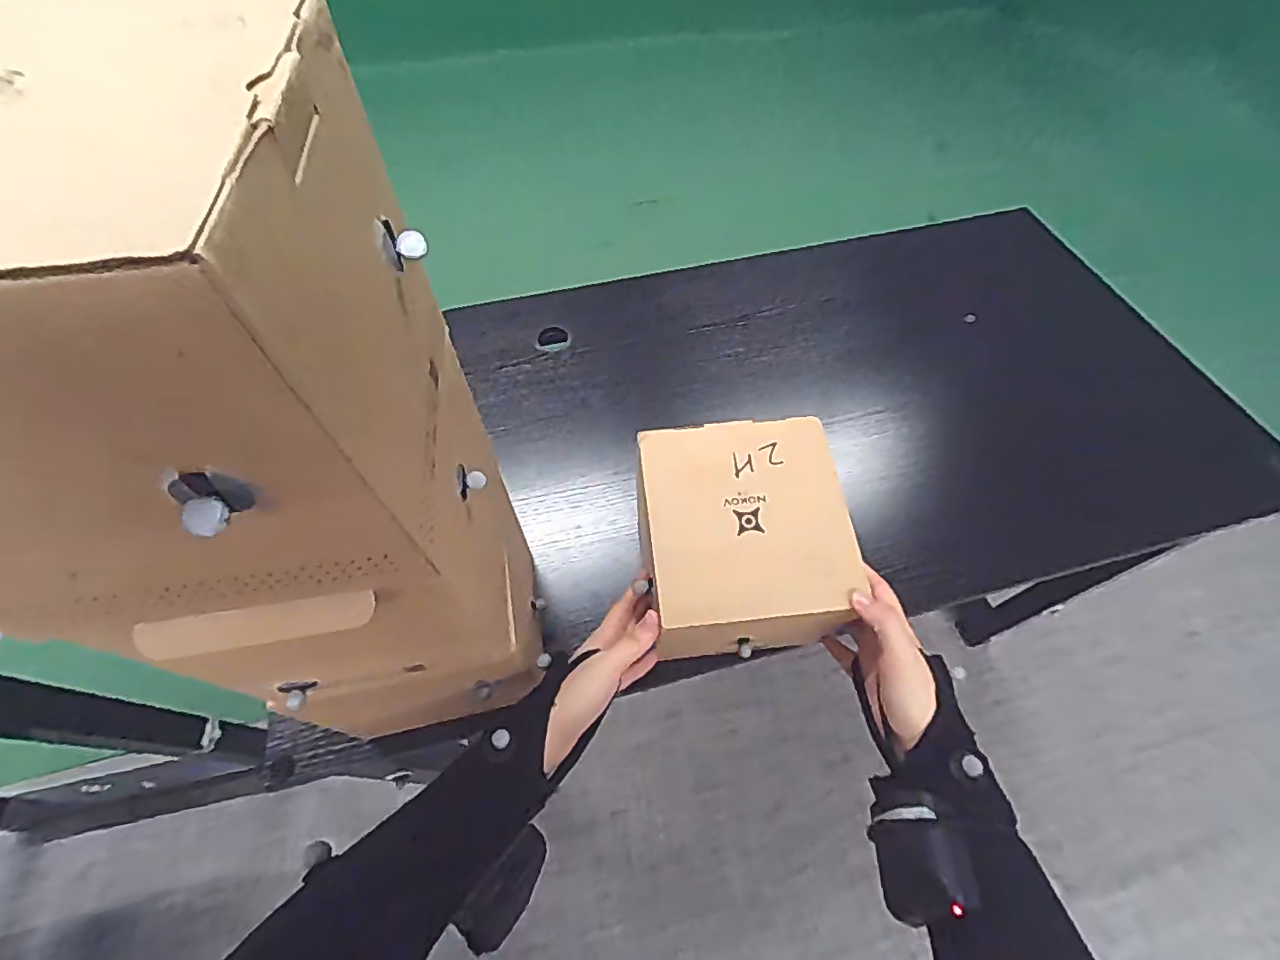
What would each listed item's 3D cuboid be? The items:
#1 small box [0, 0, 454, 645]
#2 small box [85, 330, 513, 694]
[{"bbox_3d":[-0.180,-0.050,0.212,0.179,0.176,0.168,-9,57,-6],"label":"small box"},{"bbox_3d":[-0.183,0.029,0.354,0.168,0.176,0.179,-9,58,-6],"label":"small box"}]
